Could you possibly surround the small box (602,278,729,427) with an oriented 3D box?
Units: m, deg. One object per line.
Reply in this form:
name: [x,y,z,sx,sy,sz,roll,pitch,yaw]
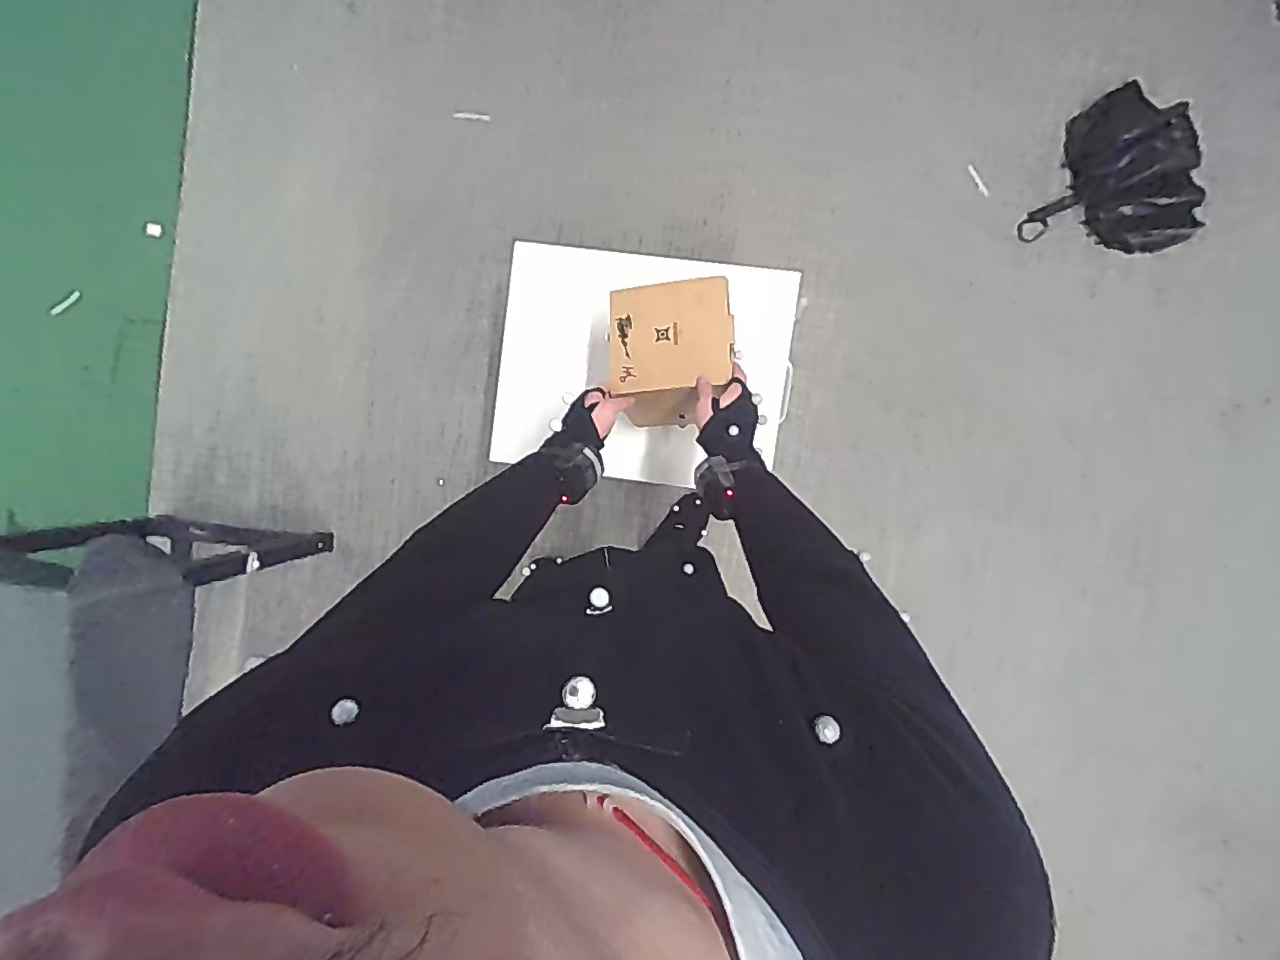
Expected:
small box: [0.044,-0.185,0.828,0.179,0.176,0.168,-3,78,9]
